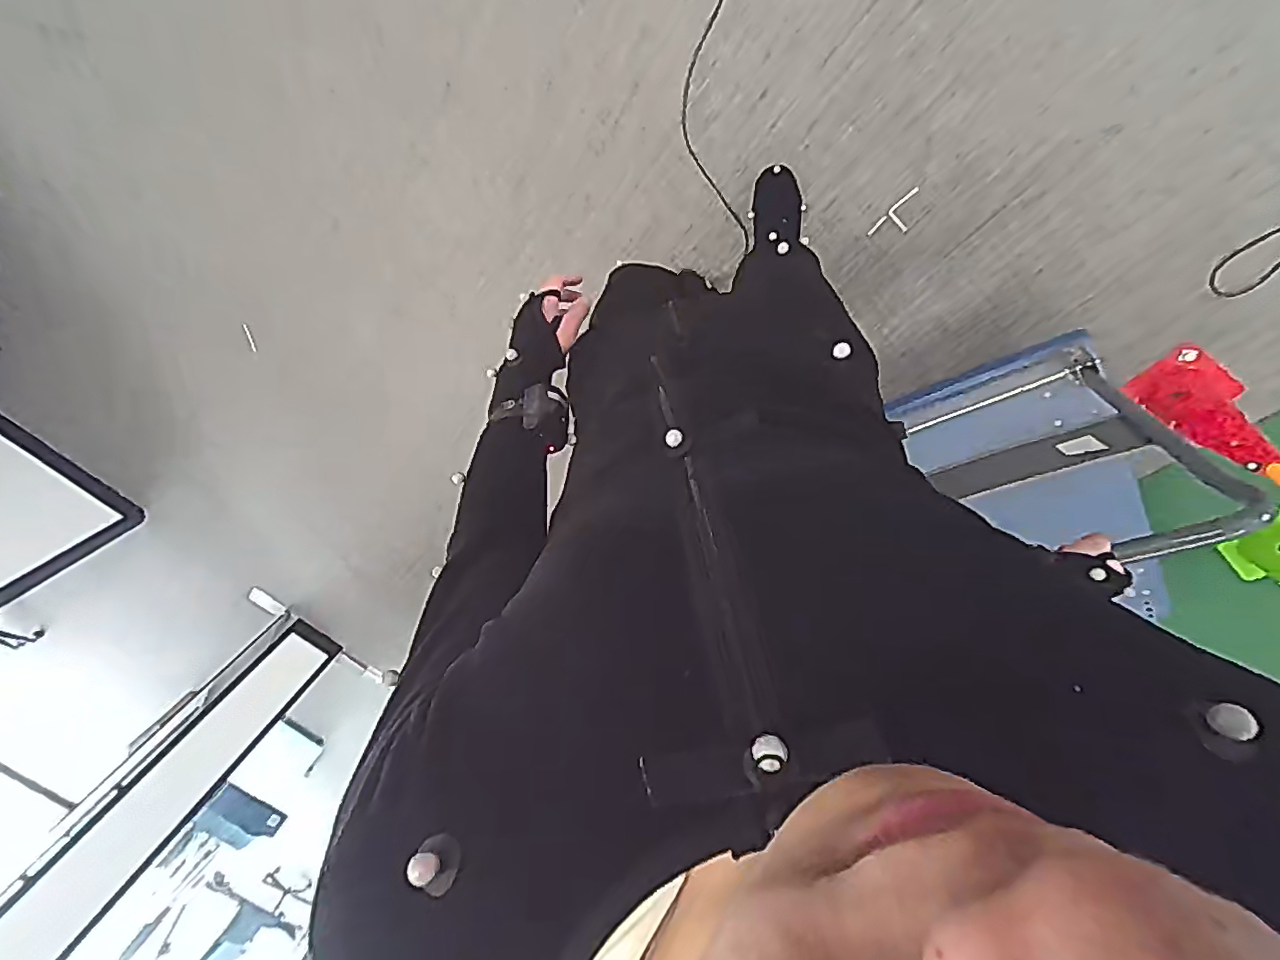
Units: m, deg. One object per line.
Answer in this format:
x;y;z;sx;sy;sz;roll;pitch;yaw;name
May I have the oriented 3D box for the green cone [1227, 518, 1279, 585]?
1.648;0.263;1.268;0.202;0.368;0.200;40;123;-11;green cone
